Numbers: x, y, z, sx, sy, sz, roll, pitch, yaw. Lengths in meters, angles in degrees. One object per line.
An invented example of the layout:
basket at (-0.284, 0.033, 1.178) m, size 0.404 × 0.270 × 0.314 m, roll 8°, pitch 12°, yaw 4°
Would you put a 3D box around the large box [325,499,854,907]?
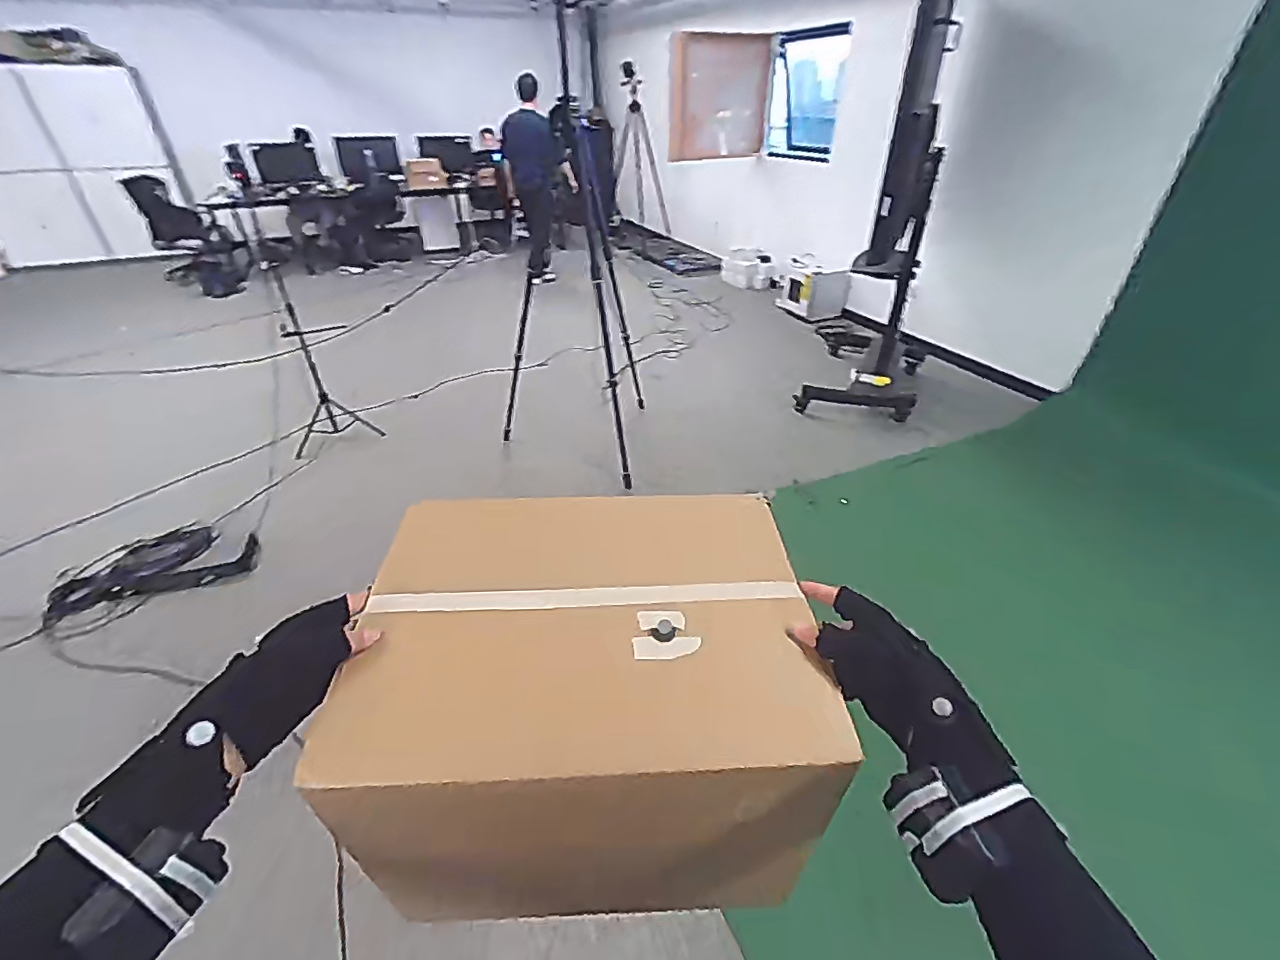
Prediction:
large box at (-0.044, 0.234, 0.606) m, size 0.408 × 0.320 × 0.320 m, roll 0°, pitch 37°, yaw -3°
